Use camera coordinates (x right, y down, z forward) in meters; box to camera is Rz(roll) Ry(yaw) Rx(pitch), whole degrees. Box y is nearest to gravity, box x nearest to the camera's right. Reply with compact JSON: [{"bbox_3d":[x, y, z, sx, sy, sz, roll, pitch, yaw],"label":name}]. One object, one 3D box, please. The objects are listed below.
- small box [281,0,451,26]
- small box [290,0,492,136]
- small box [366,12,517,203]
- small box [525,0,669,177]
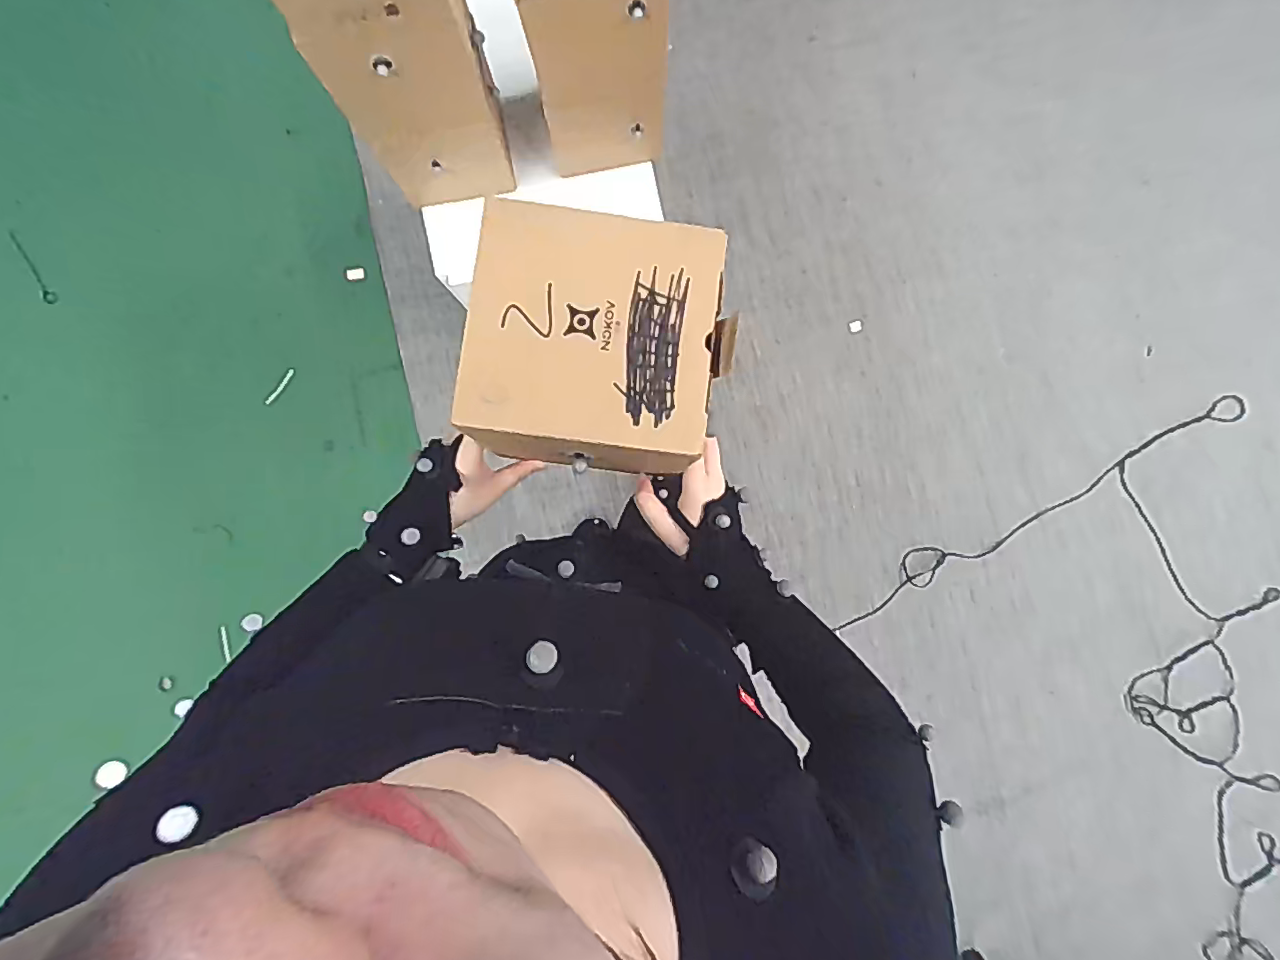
[{"bbox_3d":[-0.286,-0.559,0.488,0.168,0.176,0.179,-12,90,-3],"label":"small box"},{"bbox_3d":[-0.296,-0.552,0.652,0.179,0.176,0.168,-12,90,-3],"label":"small box"},{"bbox_3d":[-0.300,-0.547,0.817,0.179,0.176,0.168,-11,91,-2],"label":"small box"},{"bbox_3d":[-0.060,-0.600,0.824,0.179,0.176,0.168,-12,89,1],"label":"small box"}]
